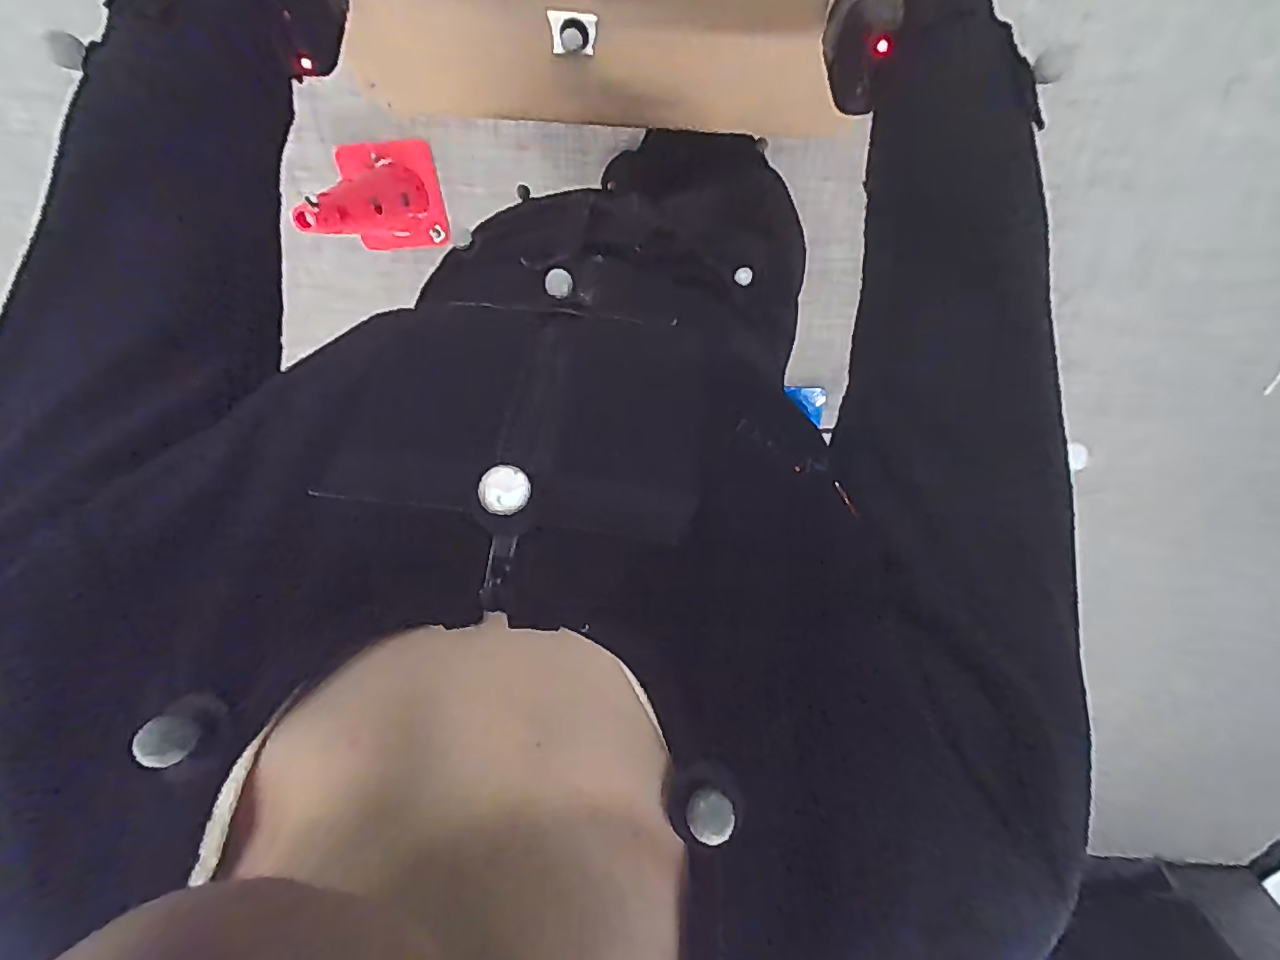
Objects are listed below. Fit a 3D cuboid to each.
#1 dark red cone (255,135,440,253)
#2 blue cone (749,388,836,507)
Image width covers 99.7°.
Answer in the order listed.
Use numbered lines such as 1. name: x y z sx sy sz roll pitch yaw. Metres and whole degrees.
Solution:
1. dark red cone: -0.529 -0.496 0.958 0.202 0.394 0.201 -4 119 5
2. blue cone: 0.371 -0.058 1.235 0.192 0.380 0.193 3 123 1
